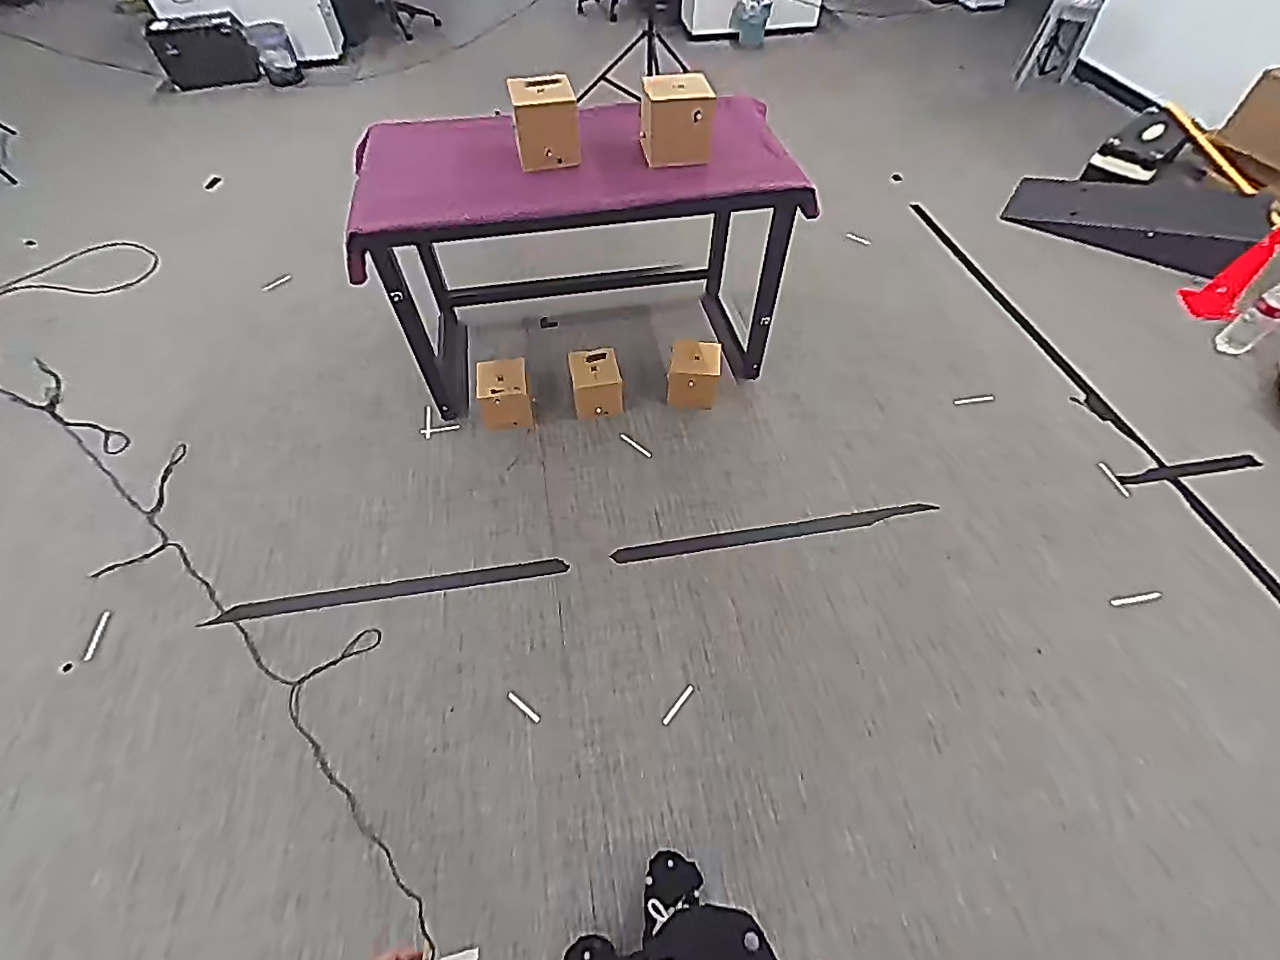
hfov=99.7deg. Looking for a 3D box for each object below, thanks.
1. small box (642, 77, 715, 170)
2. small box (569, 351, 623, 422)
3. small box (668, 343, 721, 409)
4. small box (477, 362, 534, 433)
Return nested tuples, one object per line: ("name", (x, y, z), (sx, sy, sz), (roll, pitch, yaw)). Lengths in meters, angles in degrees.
("small box", (0.100, -0.992, 1.508), (0.179, 0.176, 0.168), (-8, 54, -4))
("small box", (-0.157, -0.333, 1.936), (0.168, 0.176, 0.179), (-9, 56, -6))
("small box", (0.196, -0.373, 1.964), (0.179, 0.176, 0.168), (4, 55, 5))
("small box", (-0.470, -0.291, 1.908), (0.168, 0.176, 0.179), (-7, 53, -5))
